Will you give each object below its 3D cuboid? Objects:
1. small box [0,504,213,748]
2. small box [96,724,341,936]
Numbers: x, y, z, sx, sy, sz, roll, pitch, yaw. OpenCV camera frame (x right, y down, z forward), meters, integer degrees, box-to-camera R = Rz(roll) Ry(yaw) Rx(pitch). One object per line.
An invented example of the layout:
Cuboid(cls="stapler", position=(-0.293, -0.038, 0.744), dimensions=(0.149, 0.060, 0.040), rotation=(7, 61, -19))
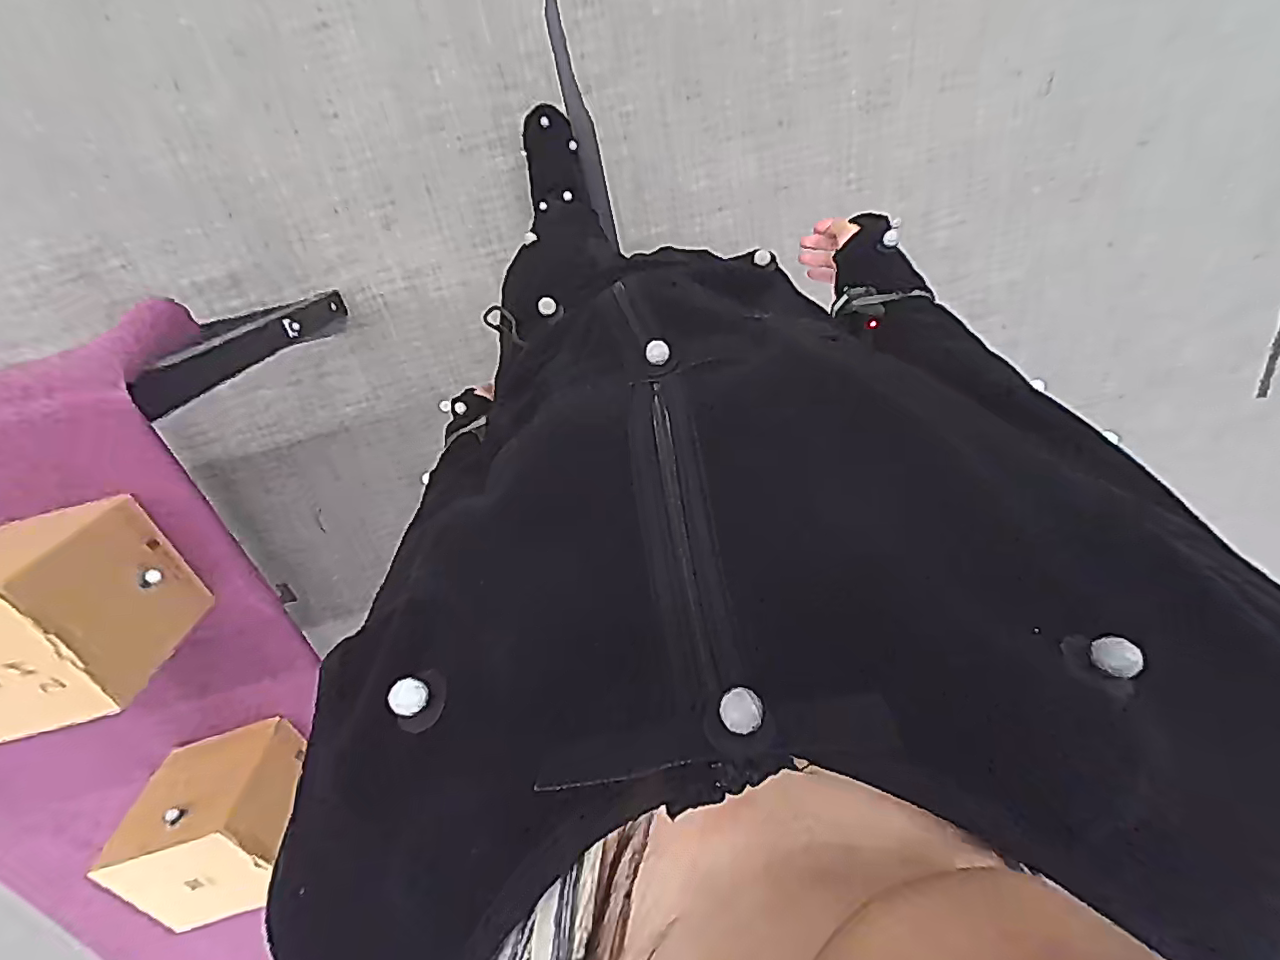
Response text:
Cuboid(cls="small box", position=(-0.619, 0.148, 0.571), dimensions=(0.179, 0.176, 0.168), rotation=(-14, 120, -1))
Cuboid(cls="small box", position=(-0.563, 0.479, 0.755), dimensions=(0.179, 0.176, 0.168), rotation=(-18, 119, 0))
